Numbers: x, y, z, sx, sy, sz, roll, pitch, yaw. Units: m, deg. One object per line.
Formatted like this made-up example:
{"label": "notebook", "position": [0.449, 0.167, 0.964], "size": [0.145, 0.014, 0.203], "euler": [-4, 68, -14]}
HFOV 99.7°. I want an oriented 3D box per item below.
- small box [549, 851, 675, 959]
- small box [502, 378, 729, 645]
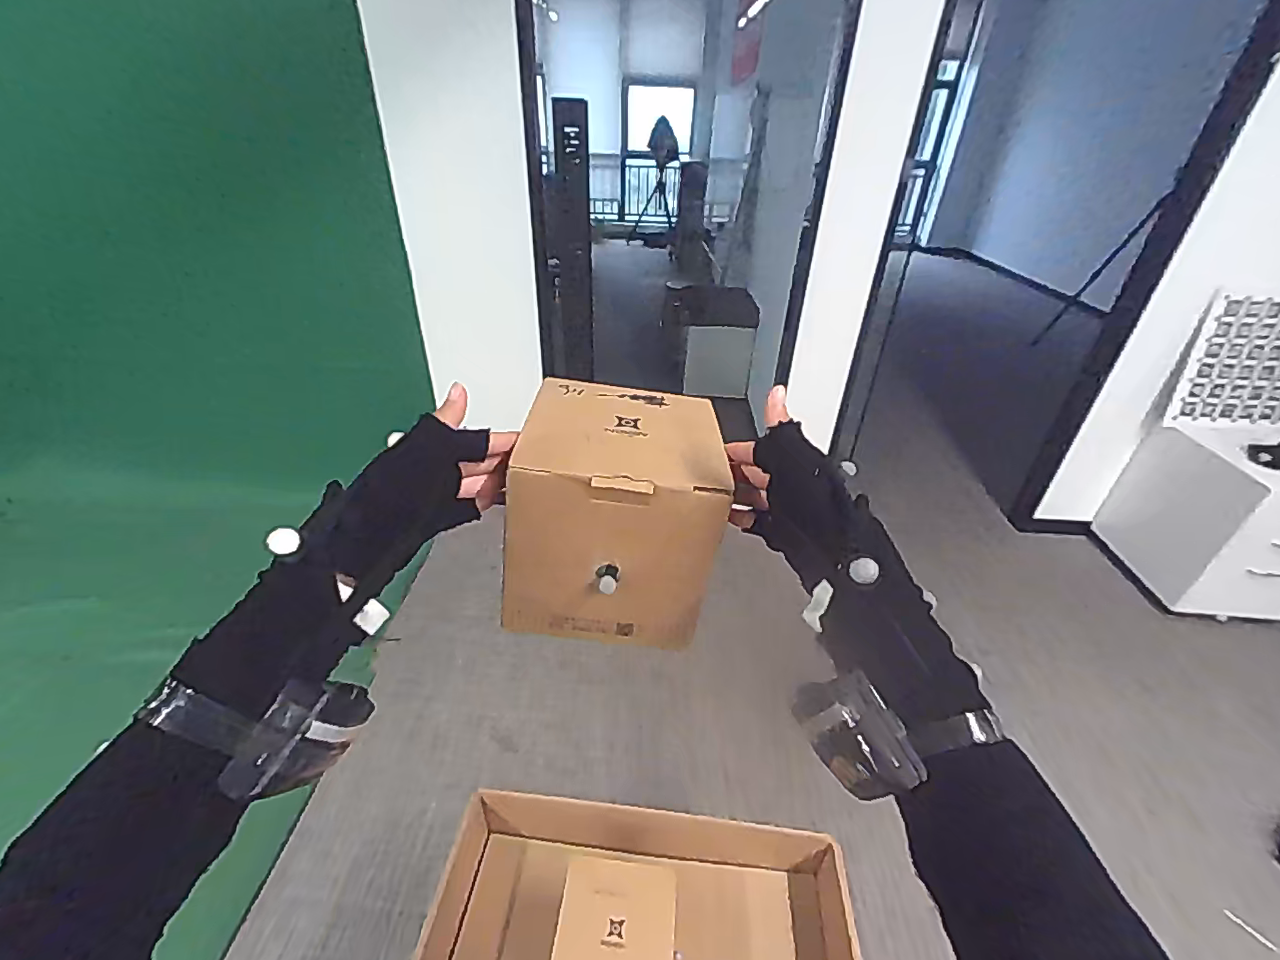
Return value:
{"label": "small box", "position": [-0.041, 0.691, 0.794], "size": [0.168, 0.176, 0.179], "euler": [7, 32, 2]}
{"label": "small box", "position": [-0.024, 0.026, 0.495], "size": [0.168, 0.176, 0.179], "euler": [8, 32, -4]}
